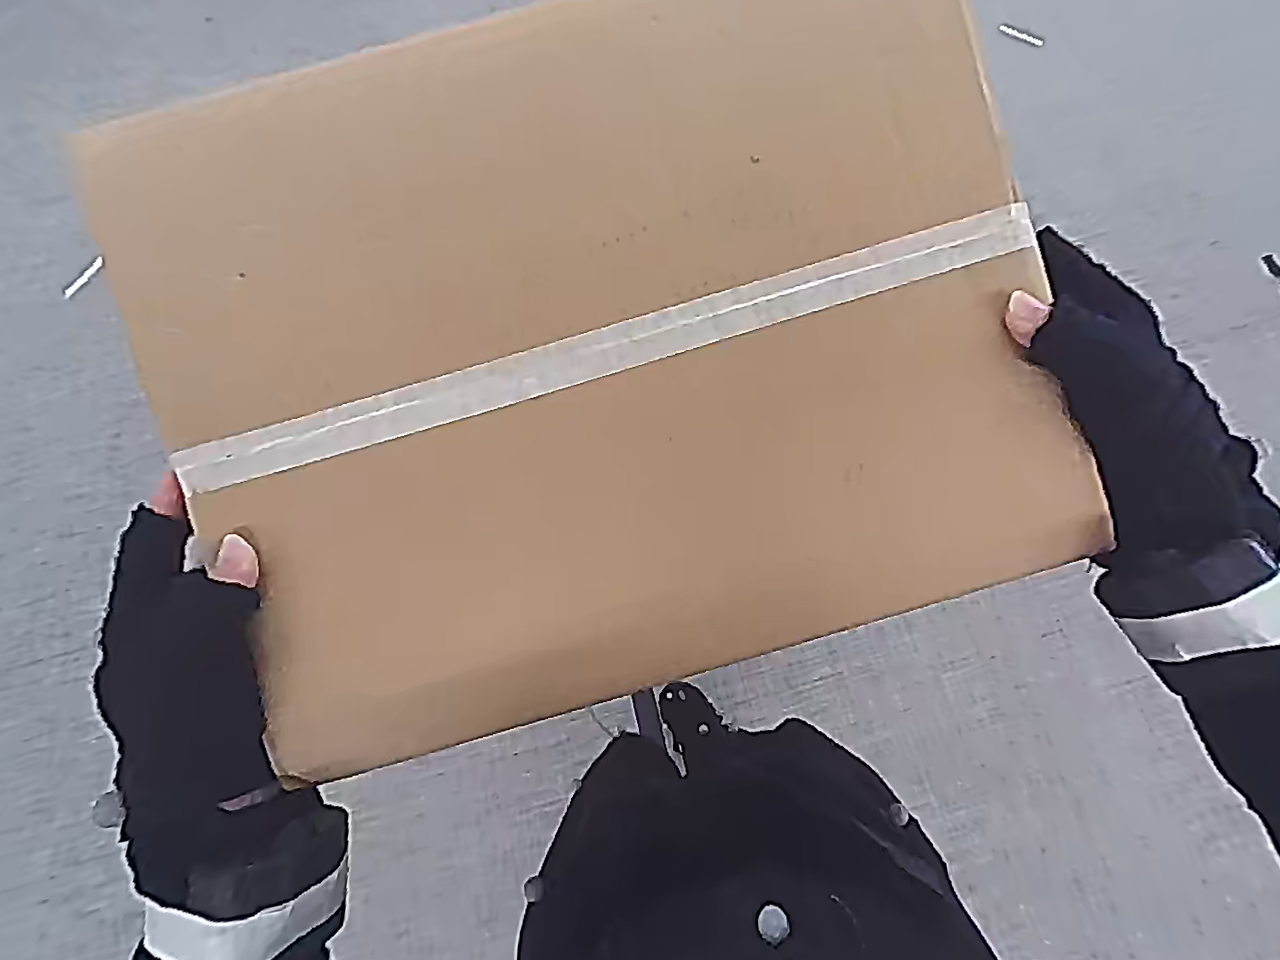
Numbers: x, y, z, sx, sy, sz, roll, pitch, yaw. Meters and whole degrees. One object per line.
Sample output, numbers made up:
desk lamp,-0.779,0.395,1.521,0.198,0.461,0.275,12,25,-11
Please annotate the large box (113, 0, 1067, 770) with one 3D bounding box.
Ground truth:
large box,-0.018,-0.066,0.409,0.408,0.320,0.320,-16,92,0
